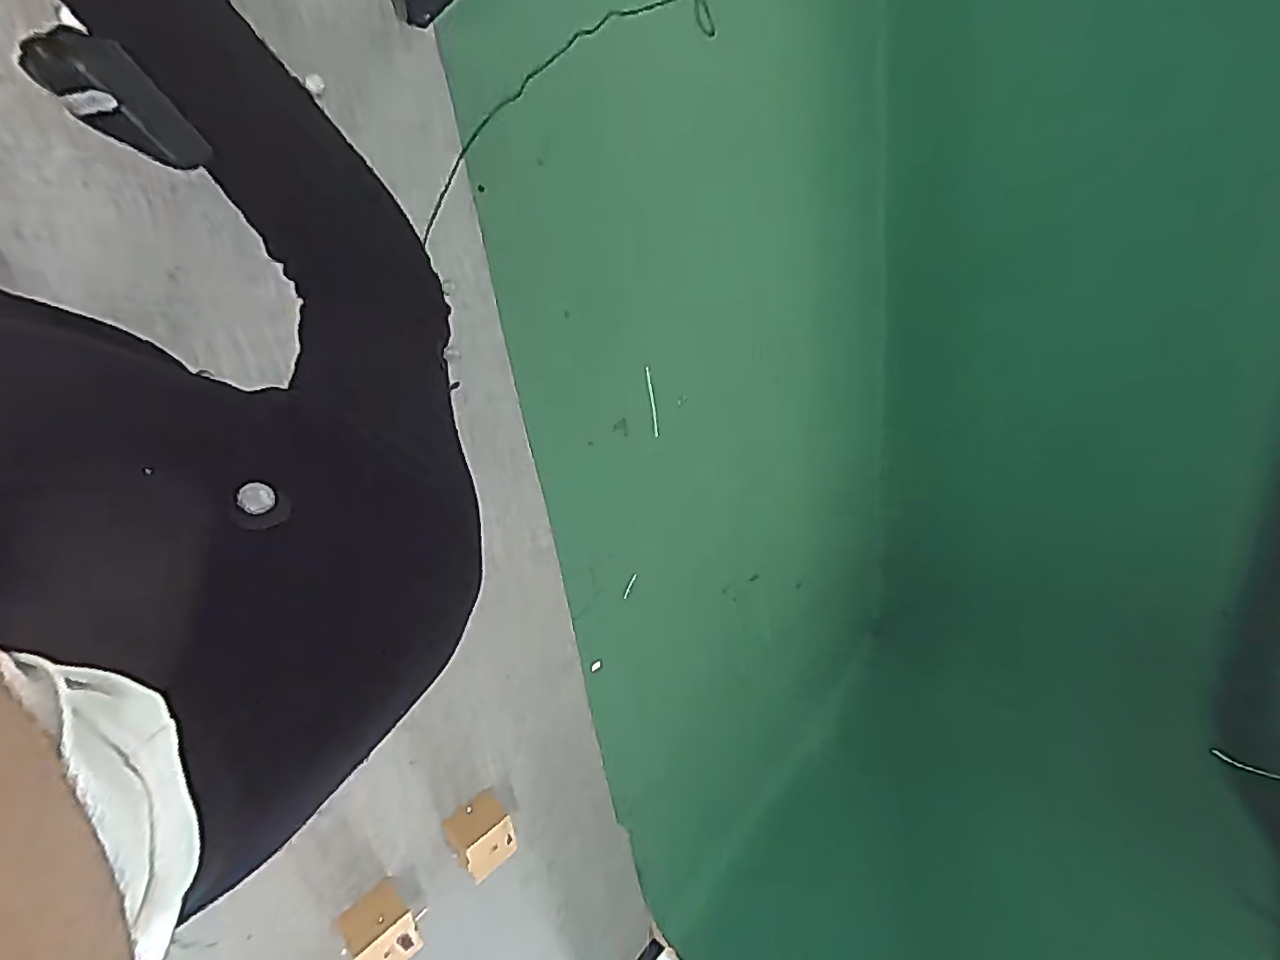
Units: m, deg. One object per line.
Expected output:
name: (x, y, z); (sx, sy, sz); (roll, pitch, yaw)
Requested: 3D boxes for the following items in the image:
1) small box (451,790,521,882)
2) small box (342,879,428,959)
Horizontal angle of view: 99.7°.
small box: (-0.557, 1.266, 1.934); (0.179, 0.176, 0.168); (-23, 114, -40)
small box: (-0.806, 1.426, 1.706); (0.179, 0.176, 0.168); (-25, 115, -39)
